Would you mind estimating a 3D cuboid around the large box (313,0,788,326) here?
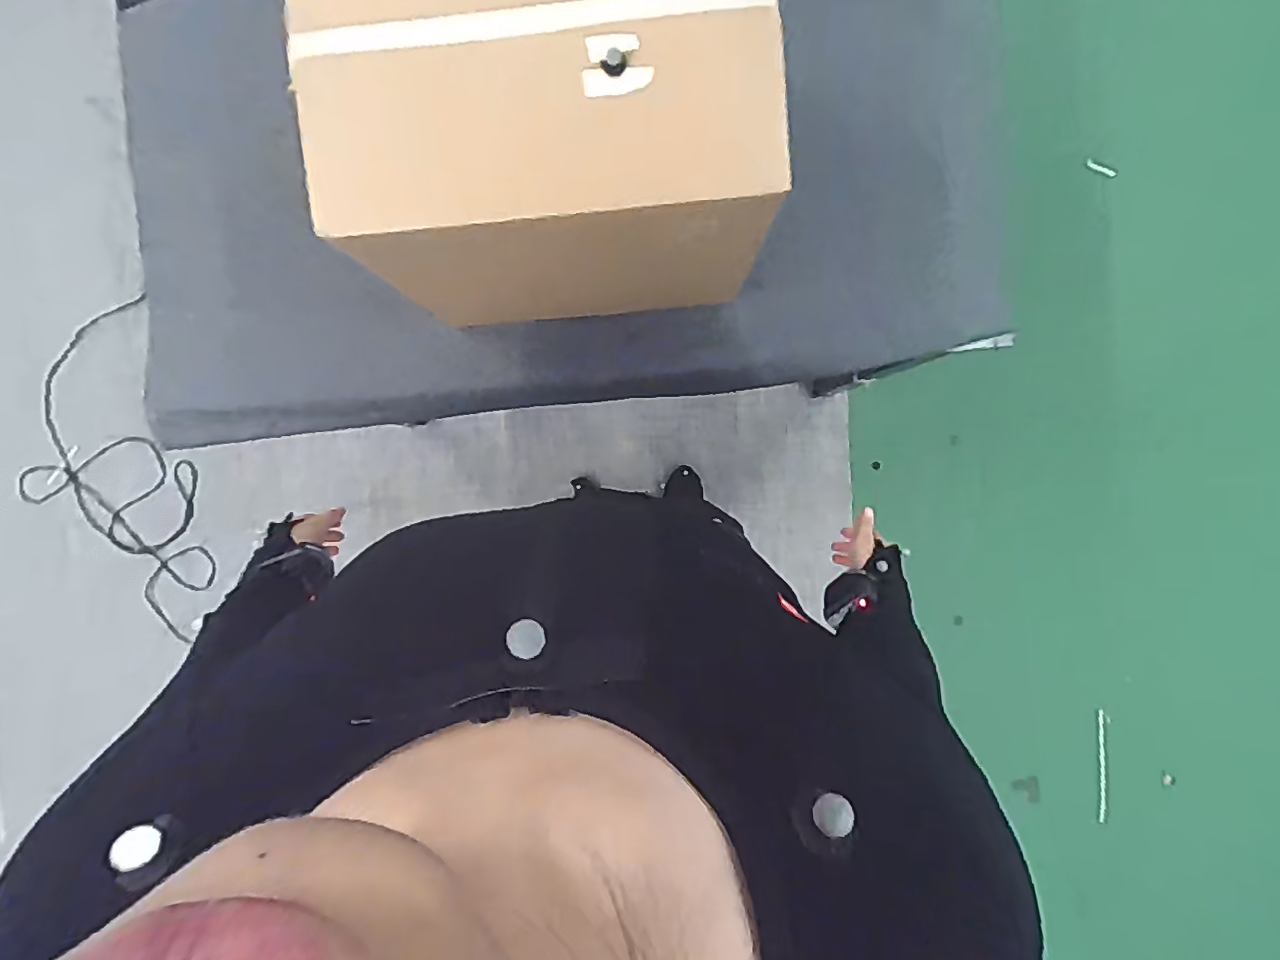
[{"bbox_3d":[-0.082,-0.385,0.615,0.408,0.320,0.320,-5,92,1],"label":"large box"}]
